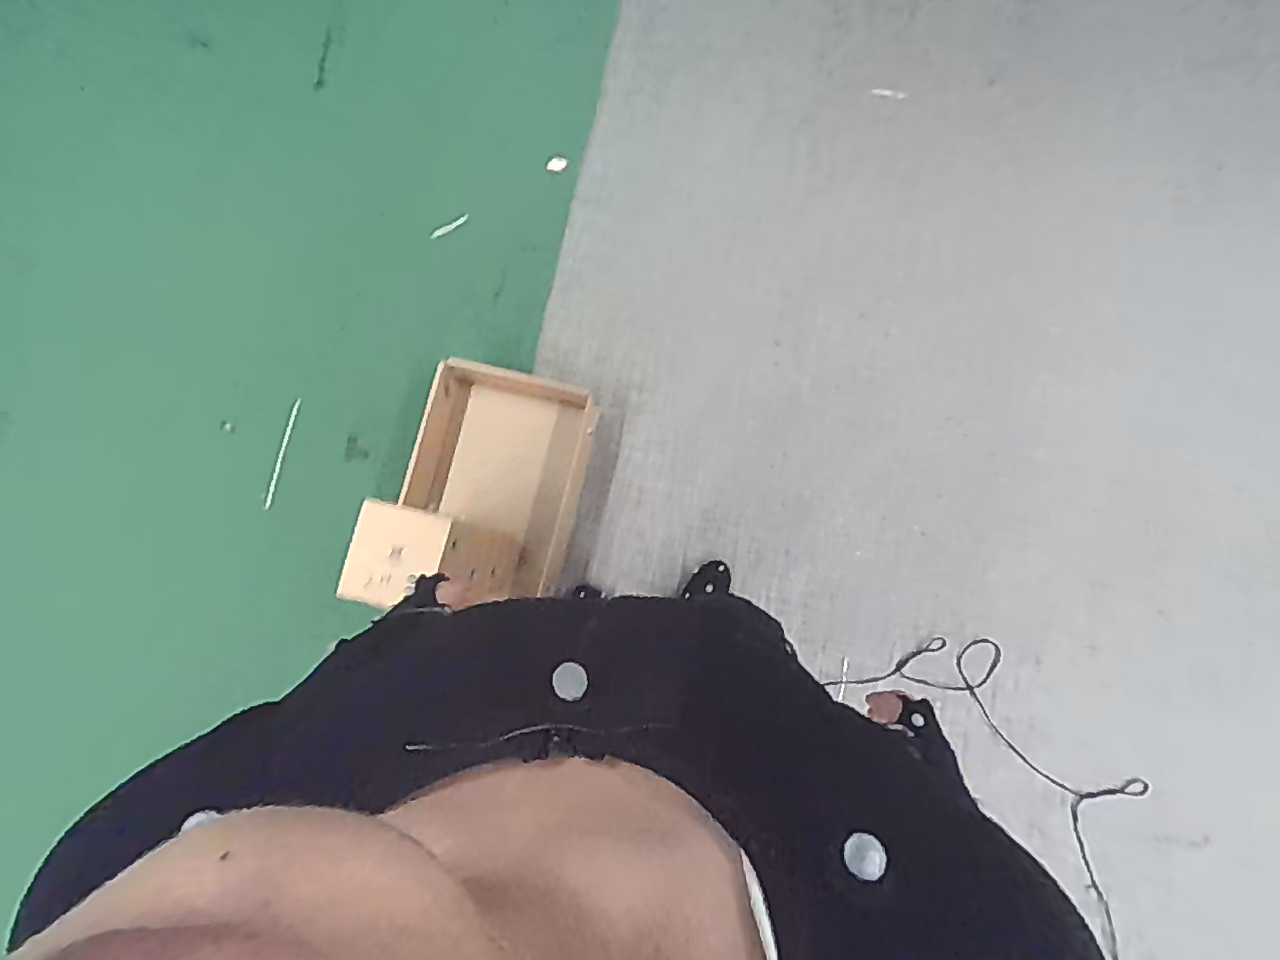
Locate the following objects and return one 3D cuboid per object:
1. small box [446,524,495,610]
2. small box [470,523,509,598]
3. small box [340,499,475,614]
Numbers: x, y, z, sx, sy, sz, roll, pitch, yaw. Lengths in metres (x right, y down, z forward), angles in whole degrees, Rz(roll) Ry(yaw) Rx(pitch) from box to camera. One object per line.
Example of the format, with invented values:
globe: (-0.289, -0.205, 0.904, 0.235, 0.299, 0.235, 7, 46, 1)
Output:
small box: (-0.435, 0.177, 1.198, 0.168, 0.176, 0.179, 13, 82, 1)
small box: (-0.444, 0.191, 1.361, 0.179, 0.176, 0.168, 12, 82, 1)
small box: (-0.430, 0.145, 1.035, 0.168, 0.176, 0.179, 12, 83, 2)
